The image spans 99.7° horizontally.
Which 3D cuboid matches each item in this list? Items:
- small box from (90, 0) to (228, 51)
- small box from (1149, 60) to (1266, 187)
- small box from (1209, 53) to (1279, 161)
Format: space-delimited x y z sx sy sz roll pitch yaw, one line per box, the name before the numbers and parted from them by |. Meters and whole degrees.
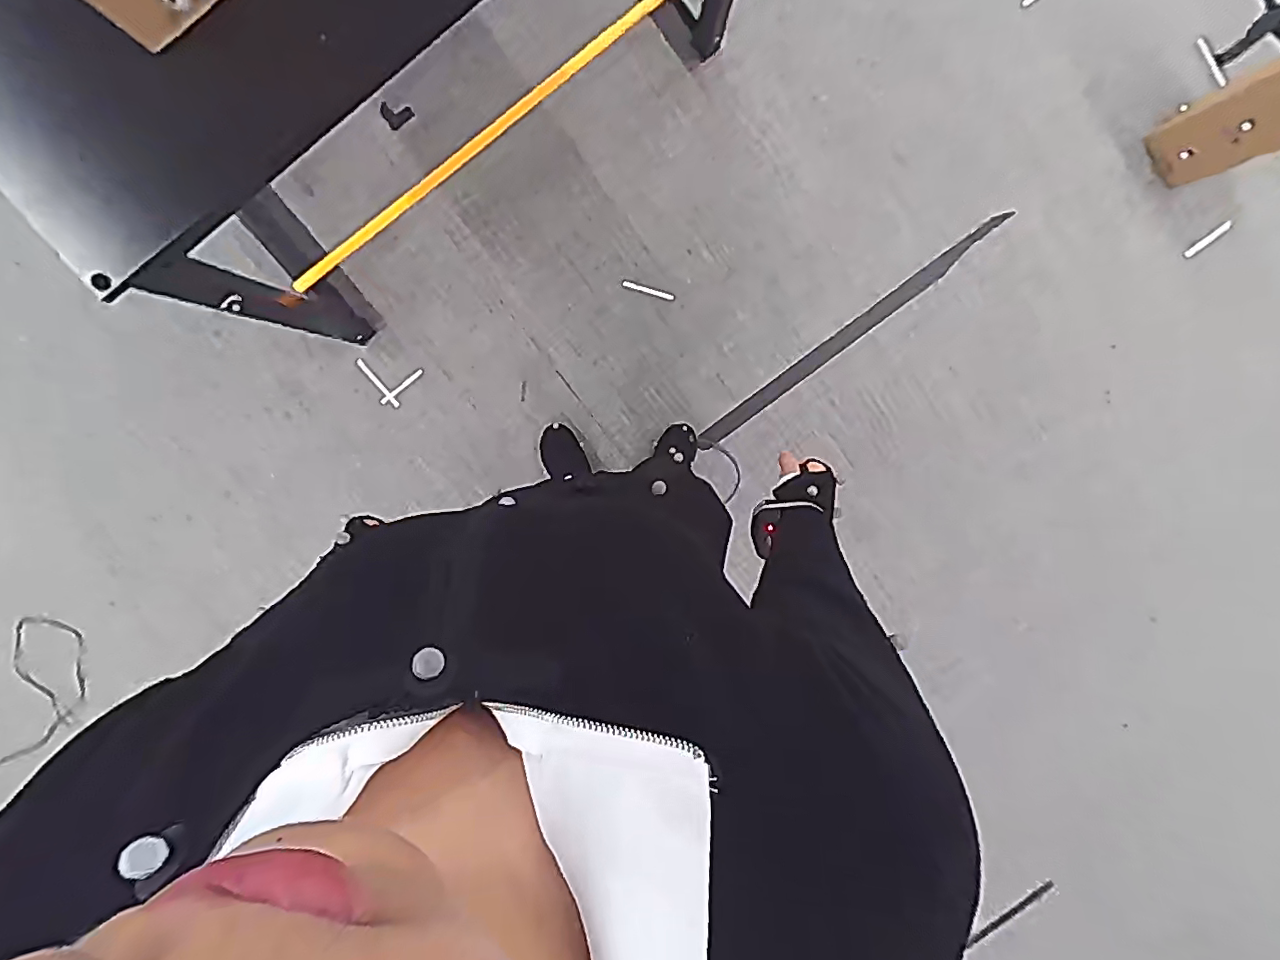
small box | -0.577 -0.623 0.571 0.168 0.176 0.179 -40 98 4
small box | 1.454 -0.888 1.368 0.179 0.176 0.168 -38 98 3
small box | 1.455 -0.863 1.204 0.179 0.176 0.168 -36 98 3
